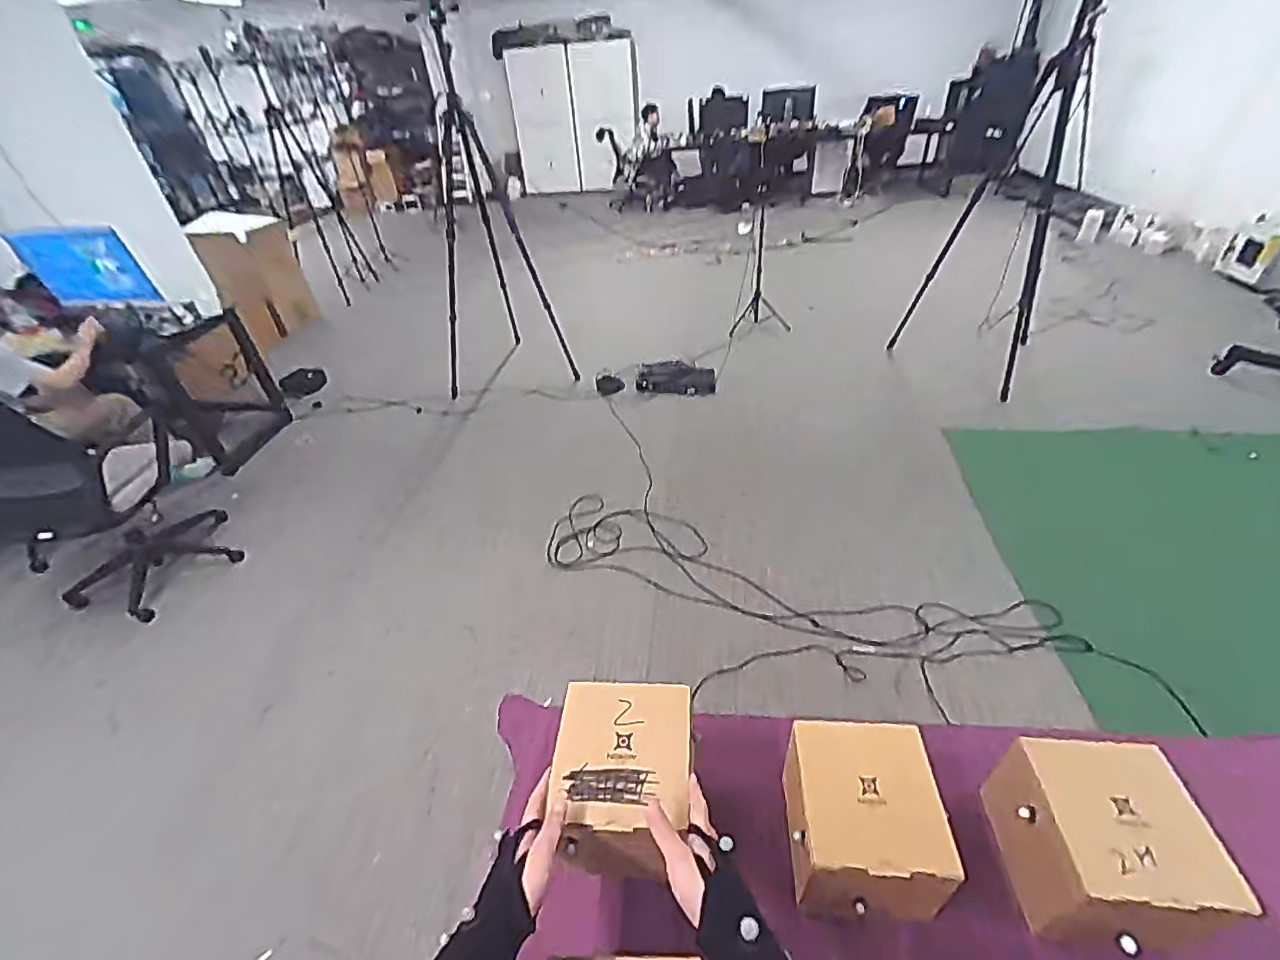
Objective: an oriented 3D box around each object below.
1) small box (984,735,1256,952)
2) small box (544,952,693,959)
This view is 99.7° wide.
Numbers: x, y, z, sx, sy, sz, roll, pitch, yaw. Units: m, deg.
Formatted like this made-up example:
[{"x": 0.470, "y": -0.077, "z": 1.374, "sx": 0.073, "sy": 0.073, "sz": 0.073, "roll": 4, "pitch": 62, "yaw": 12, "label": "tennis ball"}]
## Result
[{"x": 0.567, "y": 0.450, "z": 0.677, "sx": 0.168, "sy": 0.176, "sz": 0.179, "roll": 0, "pitch": 39, "yaw": 9, "label": "small box"}, {"x": -0.017, "y": 0.616, "z": 0.547, "sx": 0.168, "sy": 0.176, "sz": 0.179, "roll": -2, "pitch": 36, "yaw": 5, "label": "small box"}]
